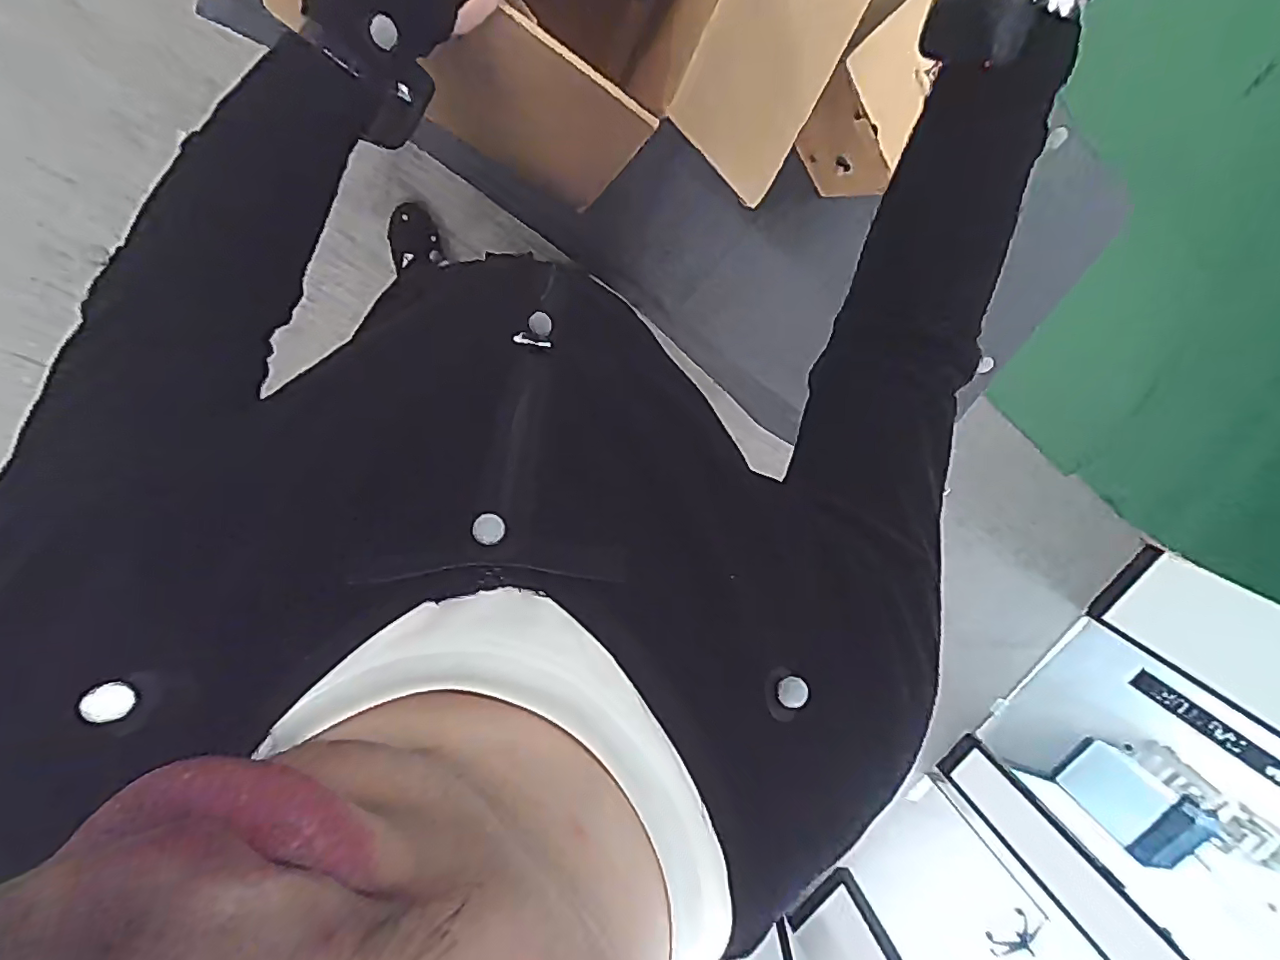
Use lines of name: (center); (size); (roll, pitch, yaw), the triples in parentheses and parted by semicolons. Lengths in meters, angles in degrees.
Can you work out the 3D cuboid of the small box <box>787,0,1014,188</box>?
small box: (0.312, -0.496, 0.681); (0.179, 0.176, 0.168); (-42, 122, 5)
